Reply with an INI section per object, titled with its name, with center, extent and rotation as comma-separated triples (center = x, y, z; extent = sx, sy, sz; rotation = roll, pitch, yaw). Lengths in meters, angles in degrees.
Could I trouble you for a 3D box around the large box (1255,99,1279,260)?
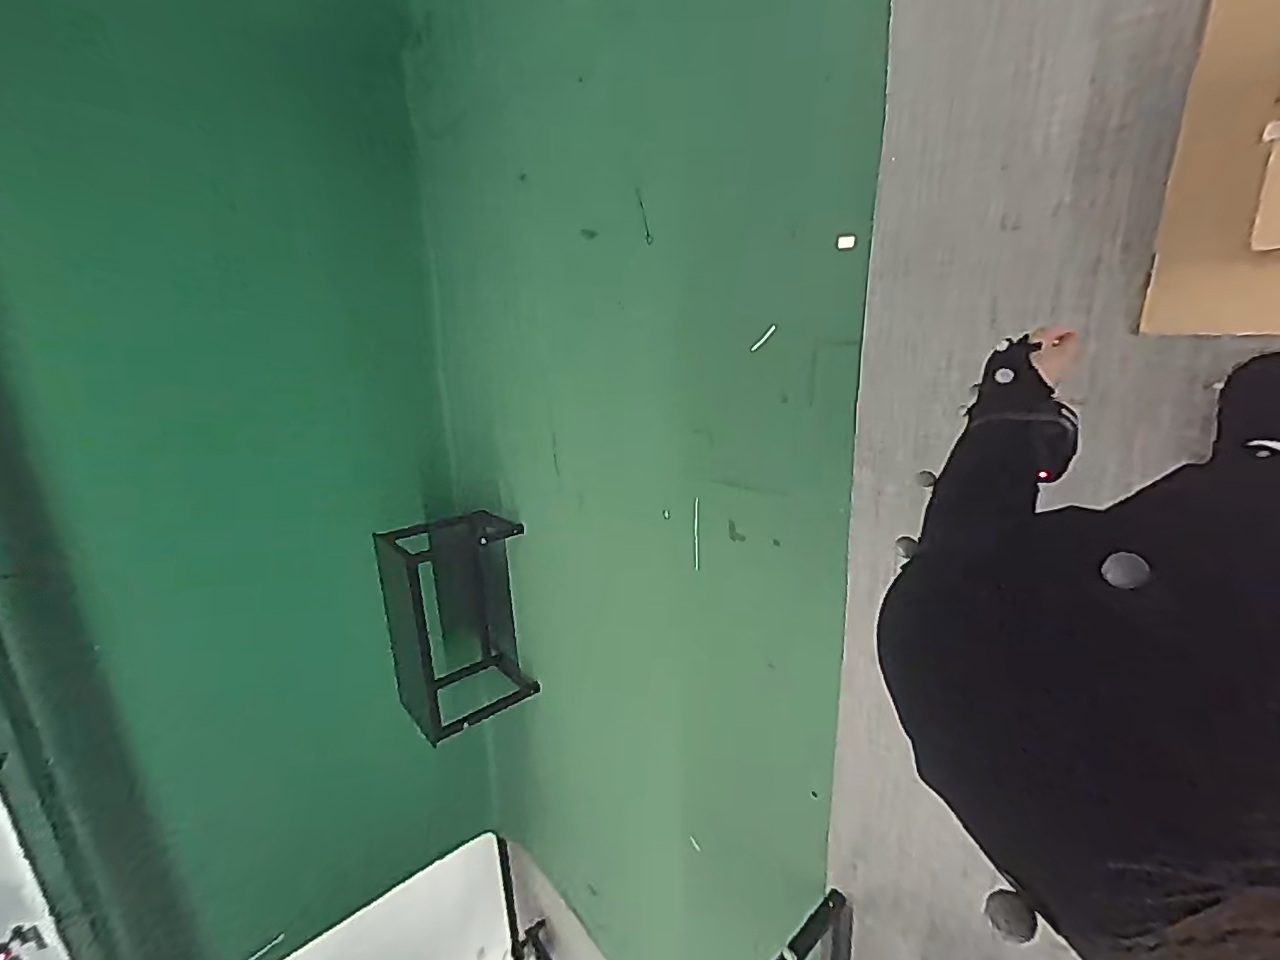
[large box]
center = 1.098, -0.478, 0.678
extent = 0.408, 0.320, 0.320
rotation = 13, 111, 47
